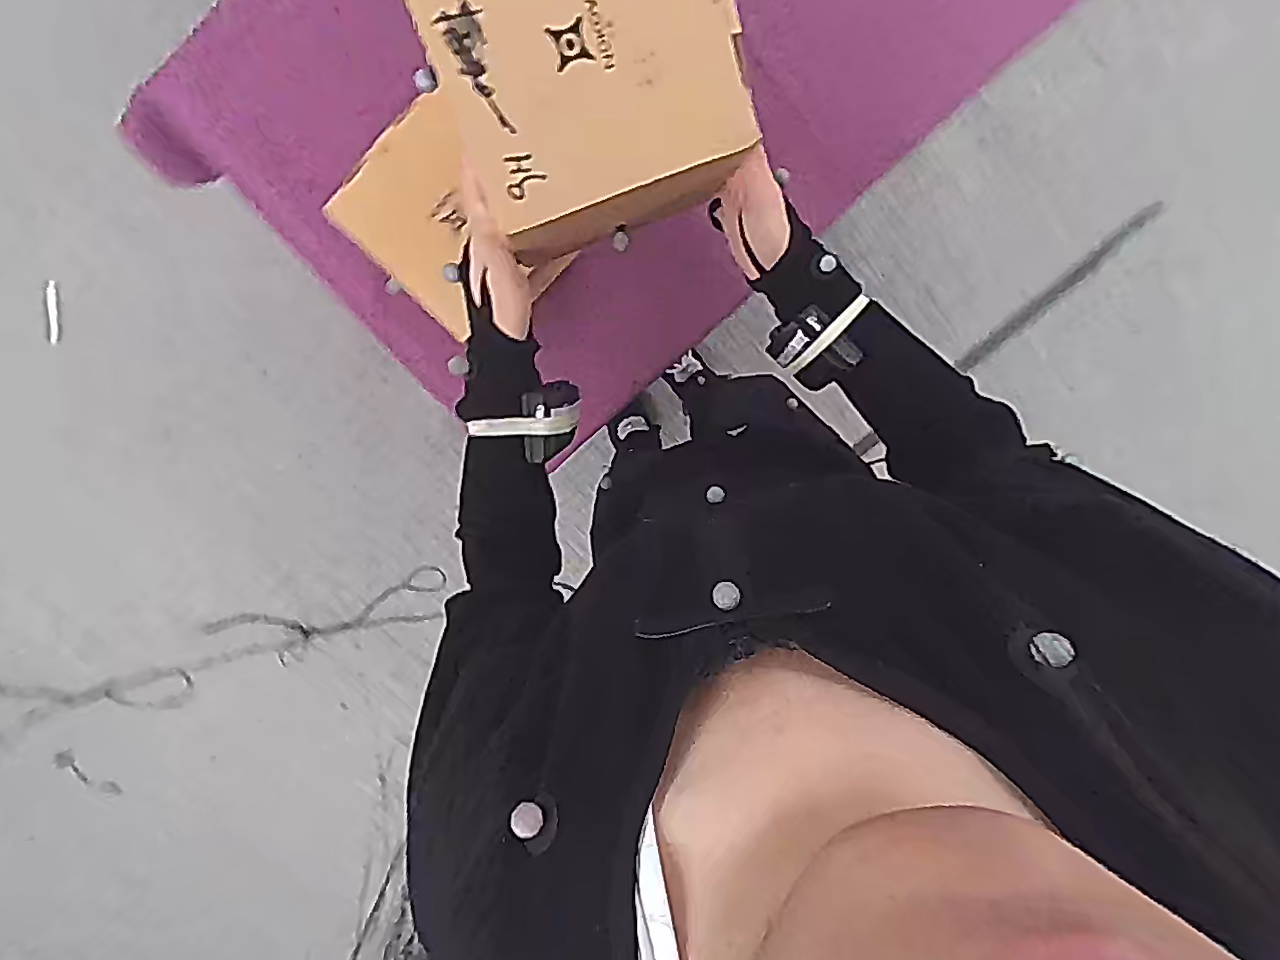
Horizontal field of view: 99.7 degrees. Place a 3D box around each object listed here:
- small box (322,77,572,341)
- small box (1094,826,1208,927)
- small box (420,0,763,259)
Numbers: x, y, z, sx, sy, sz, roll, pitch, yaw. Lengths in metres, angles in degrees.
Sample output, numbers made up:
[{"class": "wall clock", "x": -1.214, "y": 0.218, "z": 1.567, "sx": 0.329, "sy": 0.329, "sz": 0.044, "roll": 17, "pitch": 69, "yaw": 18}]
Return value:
[{"class": "small box", "x": -0.189, "y": -0.274, "z": 0.595, "sx": 0.179, "sy": 0.176, "sz": 0.168, "roll": 44, "pitch": 97, "yaw": -12}, {"class": "small box", "x": 1.598, "y": 1.237, "z": 1.702, "sx": 0.179, "sy": 0.176, "sz": 0.168, "roll": 44, "pitch": 97, "yaw": -14}, {"class": "small box", "x": -0.038, "y": -0.276, "z": 0.389, "sx": 0.179, "sy": 0.176, "sz": 0.168, "roll": -20, "pitch": 106, "yaw": -2}]
